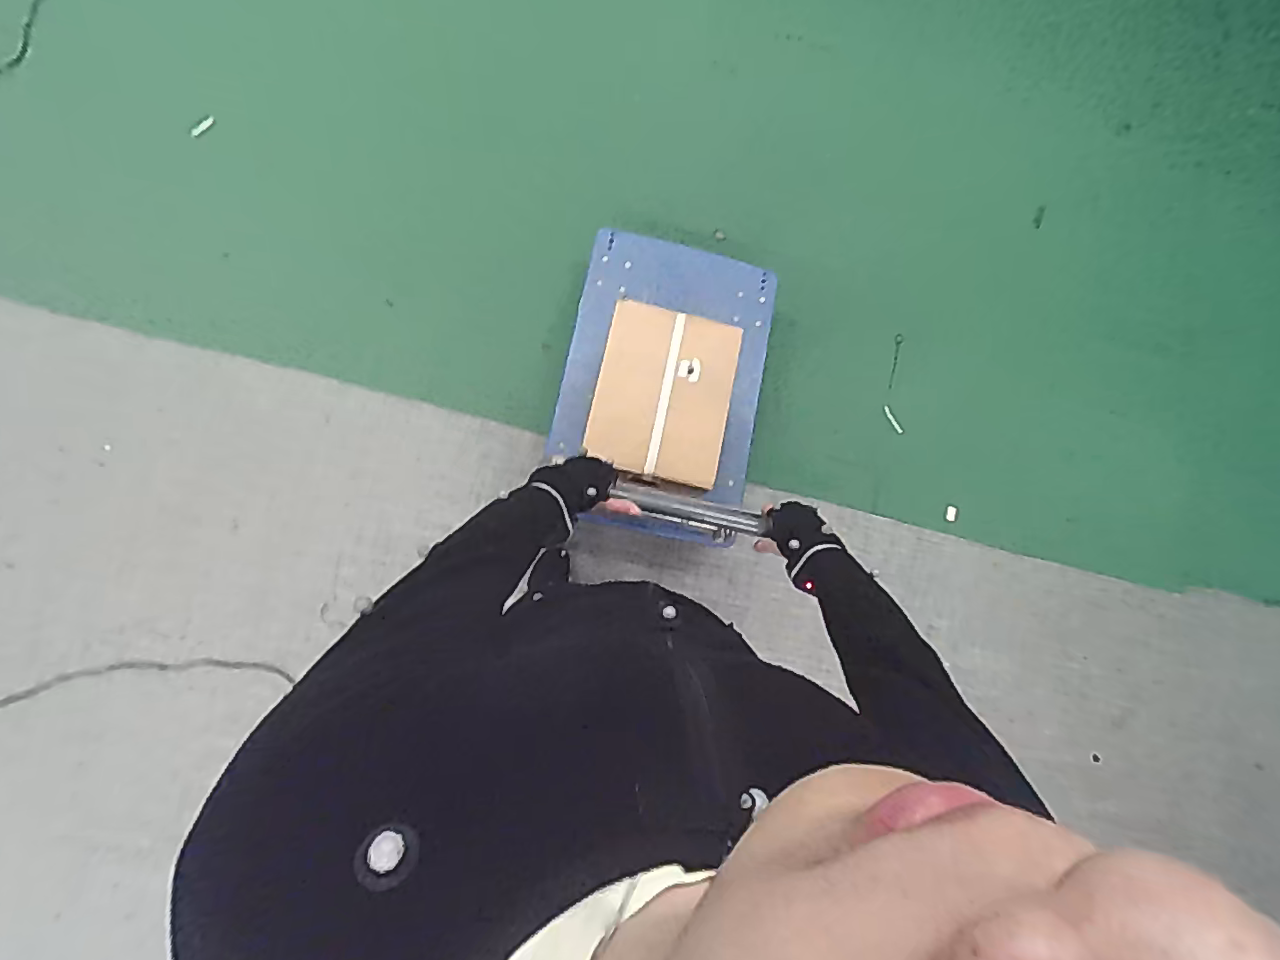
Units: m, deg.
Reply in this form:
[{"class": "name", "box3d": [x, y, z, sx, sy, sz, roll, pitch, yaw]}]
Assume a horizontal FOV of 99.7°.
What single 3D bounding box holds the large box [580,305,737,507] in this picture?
[{"class": "large box", "box3d": [0.033, -0.167, 1.392, 0.320, 0.320, 0.408, 13, 78, -6]}]
